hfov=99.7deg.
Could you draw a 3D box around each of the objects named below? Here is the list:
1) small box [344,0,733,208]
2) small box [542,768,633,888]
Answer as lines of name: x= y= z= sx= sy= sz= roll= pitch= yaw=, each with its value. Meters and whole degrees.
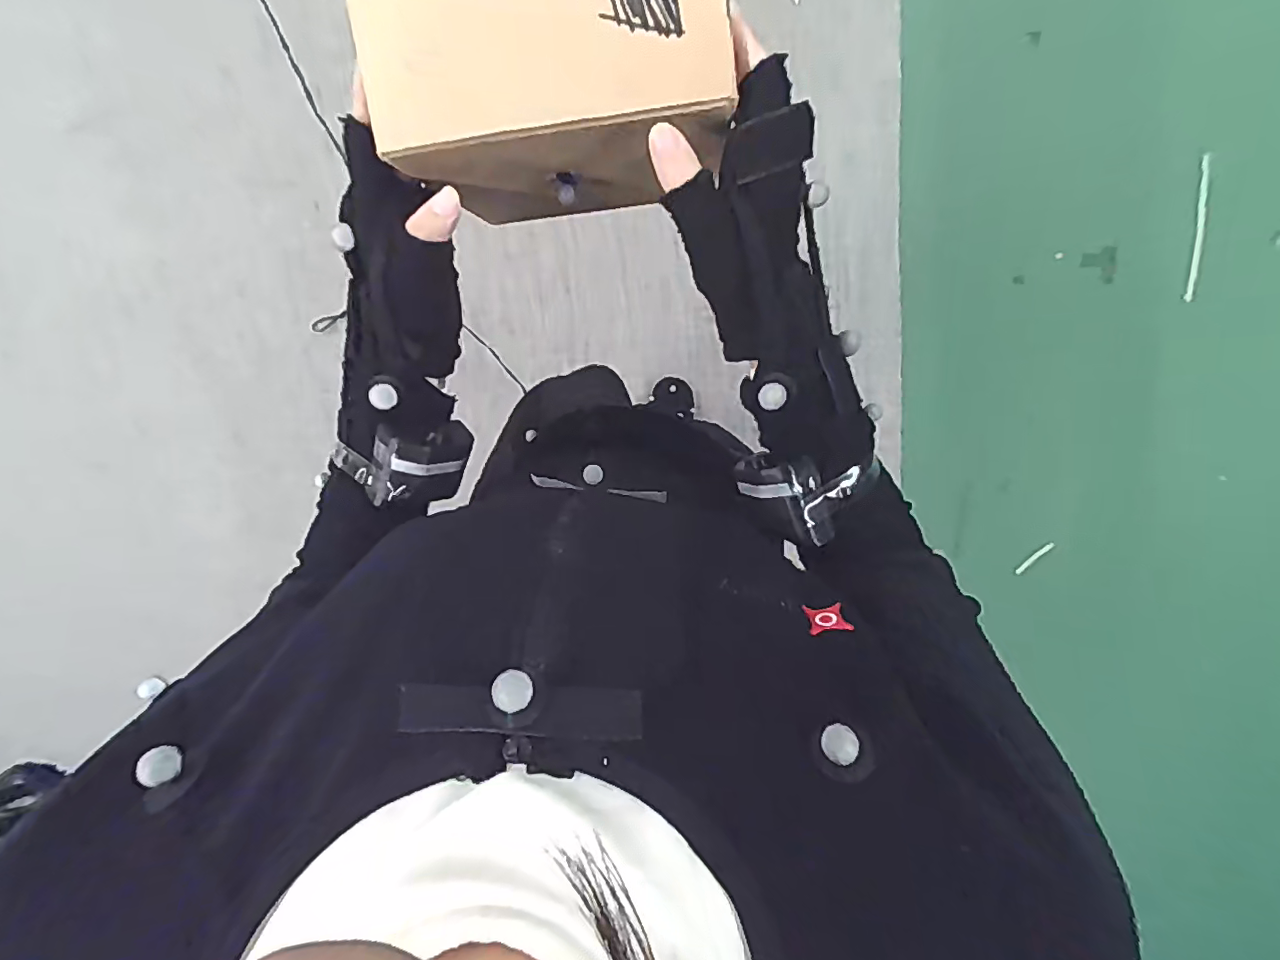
small box: x=-0.046 y=-0.270 z=0.309 sx=0.179 sy=0.176 sz=0.168 roll=-5 pitch=105 yaw=8
small box: x=-0.112 y=0.789 z=1.239 sx=0.179 sy=0.176 sz=0.168 roll=-3 pitch=101 yaw=7
